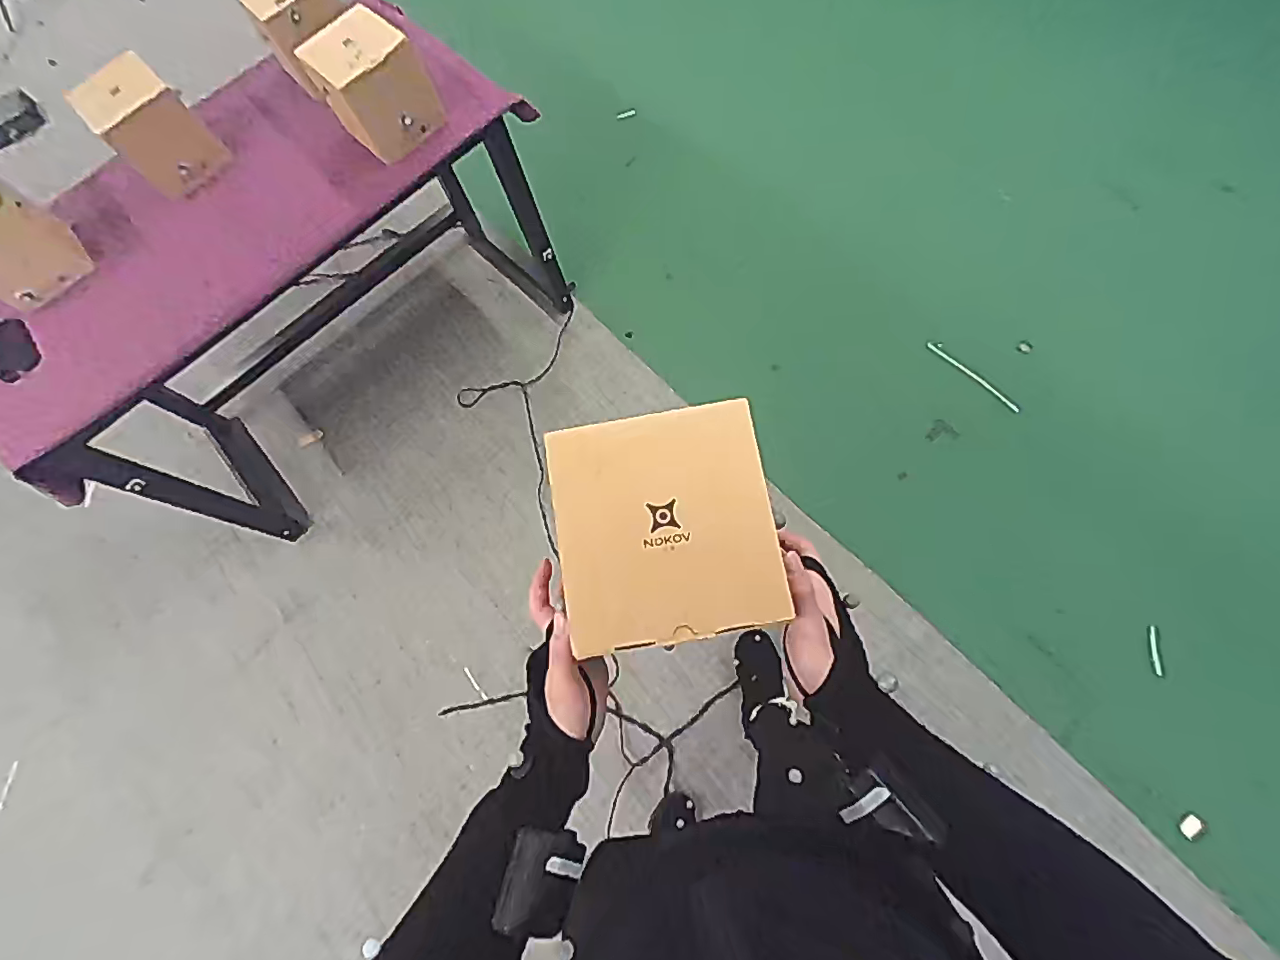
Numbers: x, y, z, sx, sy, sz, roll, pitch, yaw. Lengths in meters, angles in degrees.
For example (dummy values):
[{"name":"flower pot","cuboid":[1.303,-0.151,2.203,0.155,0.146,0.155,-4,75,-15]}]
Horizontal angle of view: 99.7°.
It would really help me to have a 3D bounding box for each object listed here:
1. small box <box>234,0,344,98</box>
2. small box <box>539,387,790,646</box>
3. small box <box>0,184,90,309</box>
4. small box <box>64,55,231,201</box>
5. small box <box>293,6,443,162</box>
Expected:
[{"name":"small box","cuboid":[-0.747,-0.998,1.198,0.168,0.176,0.179,-42,71,-7]},{"name":"small box","cuboid":[0.016,0.041,0.479,0.168,0.176,0.179,-10,78,0]},{"name":"small box","cuboid":[-1.278,-0.475,1.084,0.168,0.176,0.179,-43,71,-8]},{"name":"small box","cuboid":[-1.032,-0.738,1.146,0.168,0.176,0.179,-43,72,-7]},{"name":"small box","cuboid":[-0.541,-0.791,1.094,0.168,0.176,0.179,-44,72,-7]}]
